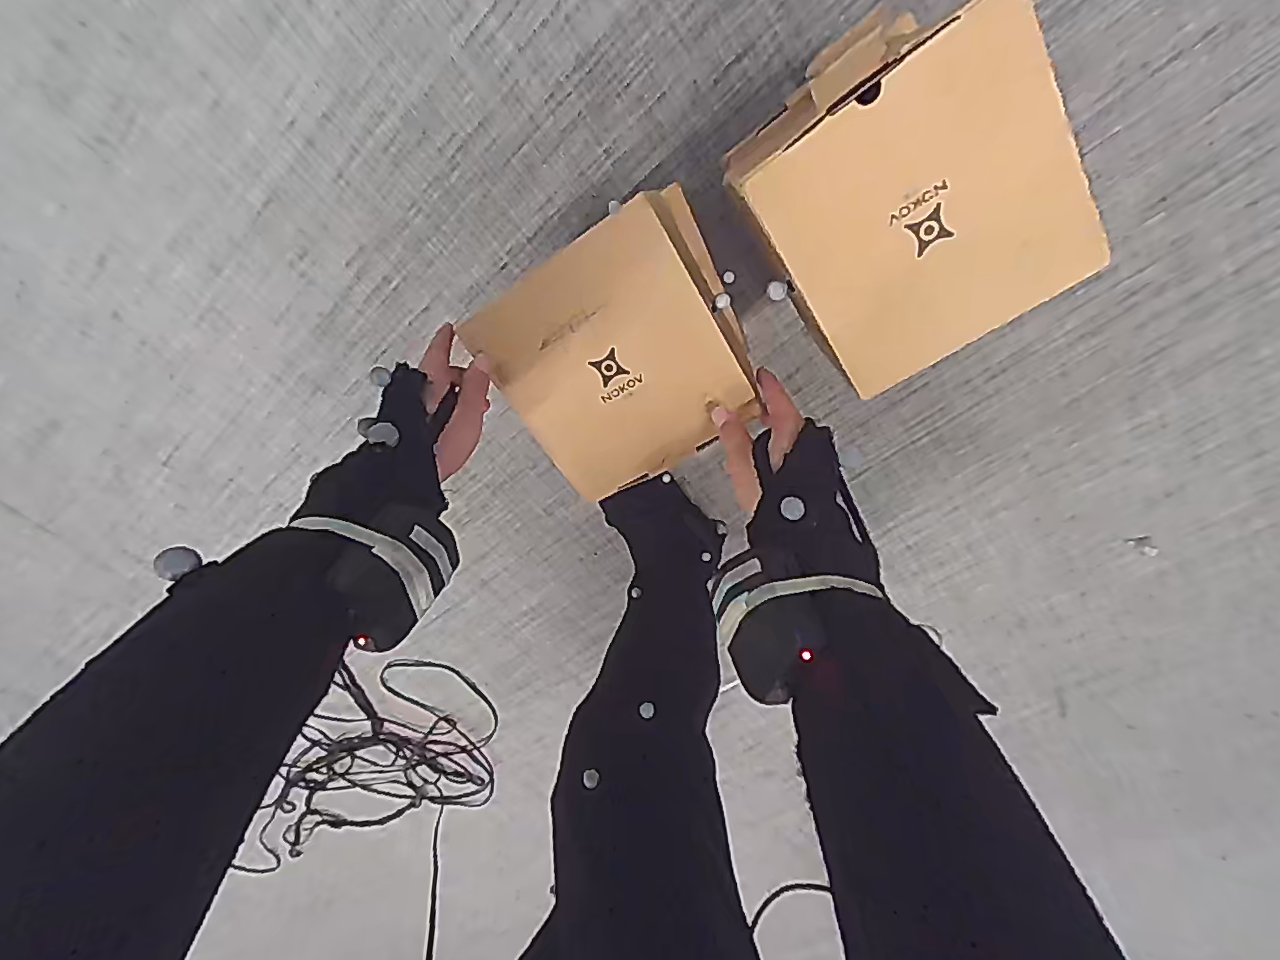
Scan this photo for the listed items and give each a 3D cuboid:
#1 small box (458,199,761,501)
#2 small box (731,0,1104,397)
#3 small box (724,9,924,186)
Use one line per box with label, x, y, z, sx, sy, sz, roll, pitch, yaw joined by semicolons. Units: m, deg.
small box;-0.013;-0.119;0.467;0.168;0.176;0.179;-28;112;18
small box;0.183;-0.199;0.404;0.168;0.176;0.179;-31;112;20
small box;0.196;-0.295;0.536;0.168;0.176;0.179;-31;112;19
